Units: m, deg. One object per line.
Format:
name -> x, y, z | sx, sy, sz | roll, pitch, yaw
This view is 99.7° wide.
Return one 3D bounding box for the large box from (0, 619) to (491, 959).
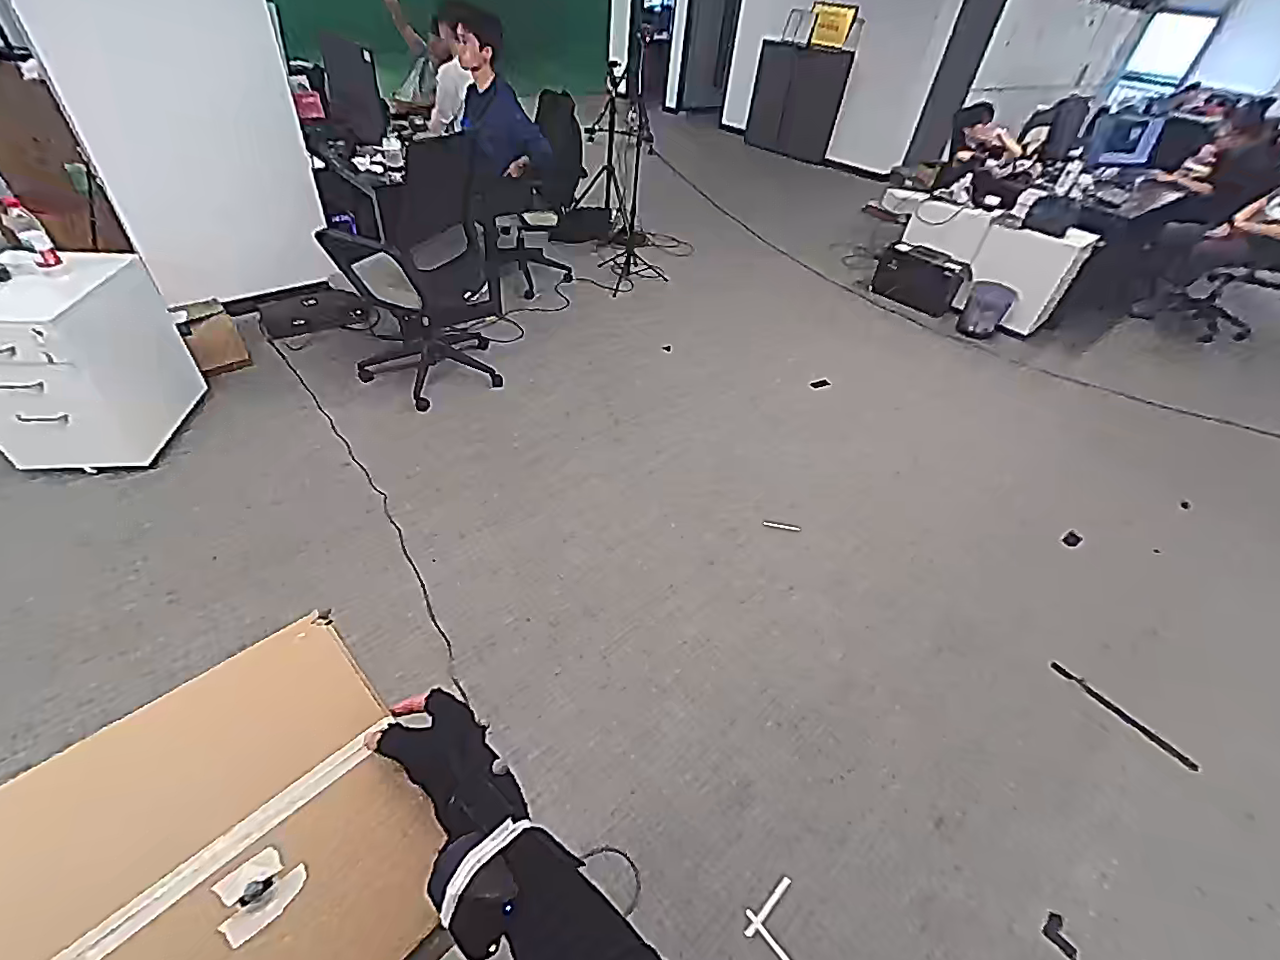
large box -> -0.401, 0.429, 0.530 | 0.408, 0.320, 0.320 | -31, 63, -35
